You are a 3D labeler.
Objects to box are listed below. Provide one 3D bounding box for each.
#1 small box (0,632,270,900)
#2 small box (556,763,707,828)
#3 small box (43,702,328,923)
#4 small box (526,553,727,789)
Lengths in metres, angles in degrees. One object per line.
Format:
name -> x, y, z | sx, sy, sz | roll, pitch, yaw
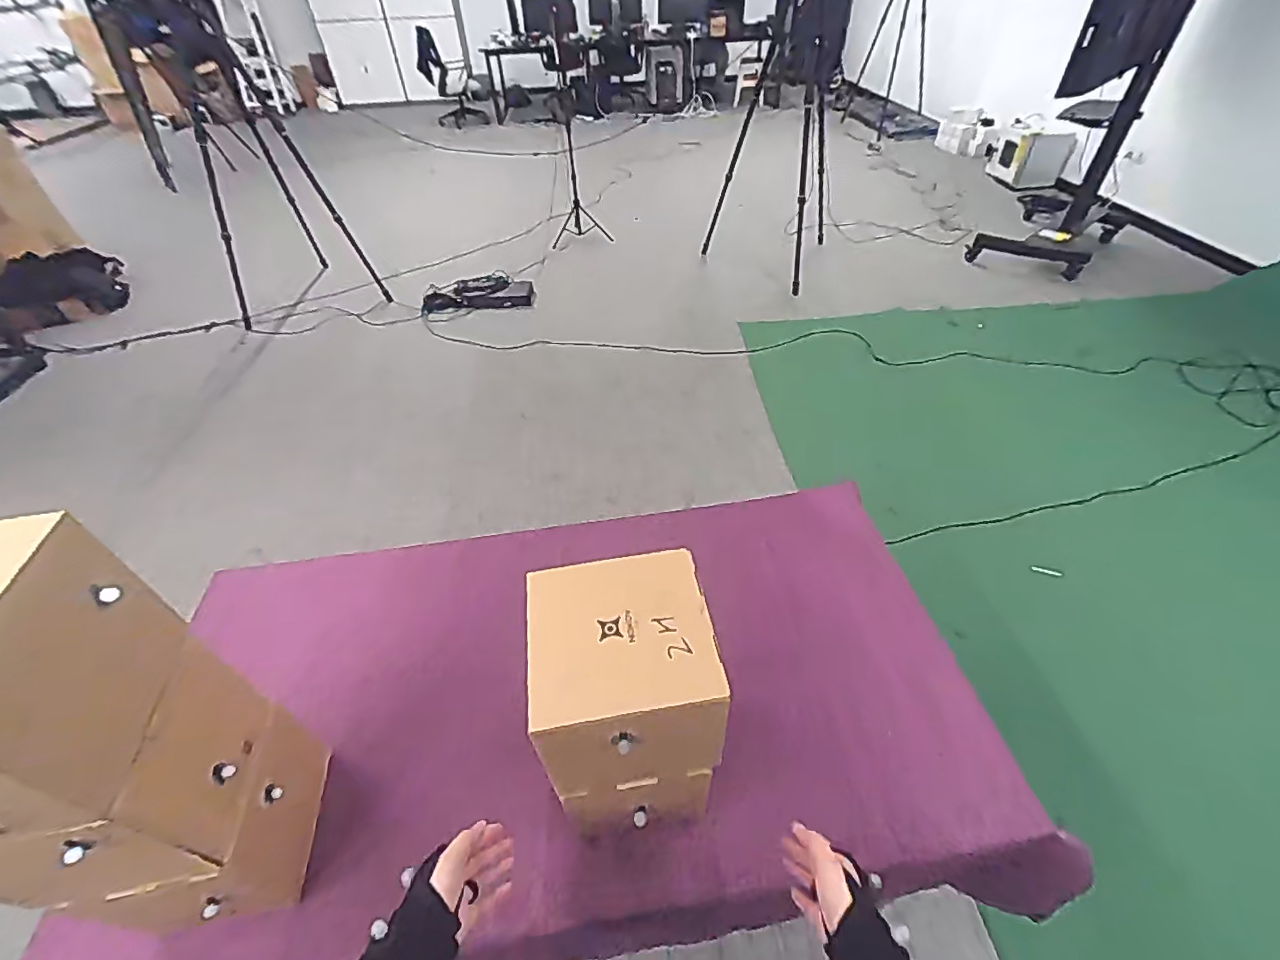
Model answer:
small box -> -0.505, 0.274, 0.519 | 0.179, 0.176, 0.168 | -8, 45, -8
small box -> -0.014, 0.320, 0.684 | 0.168, 0.176, 0.179 | -6, 45, -5
small box -> -0.496, 0.390, 0.632 | 0.168, 0.176, 0.179 | -7, 44, -6
small box -> -0.016, 0.202, 0.567 | 0.179, 0.176, 0.168 | -7, 45, -5
